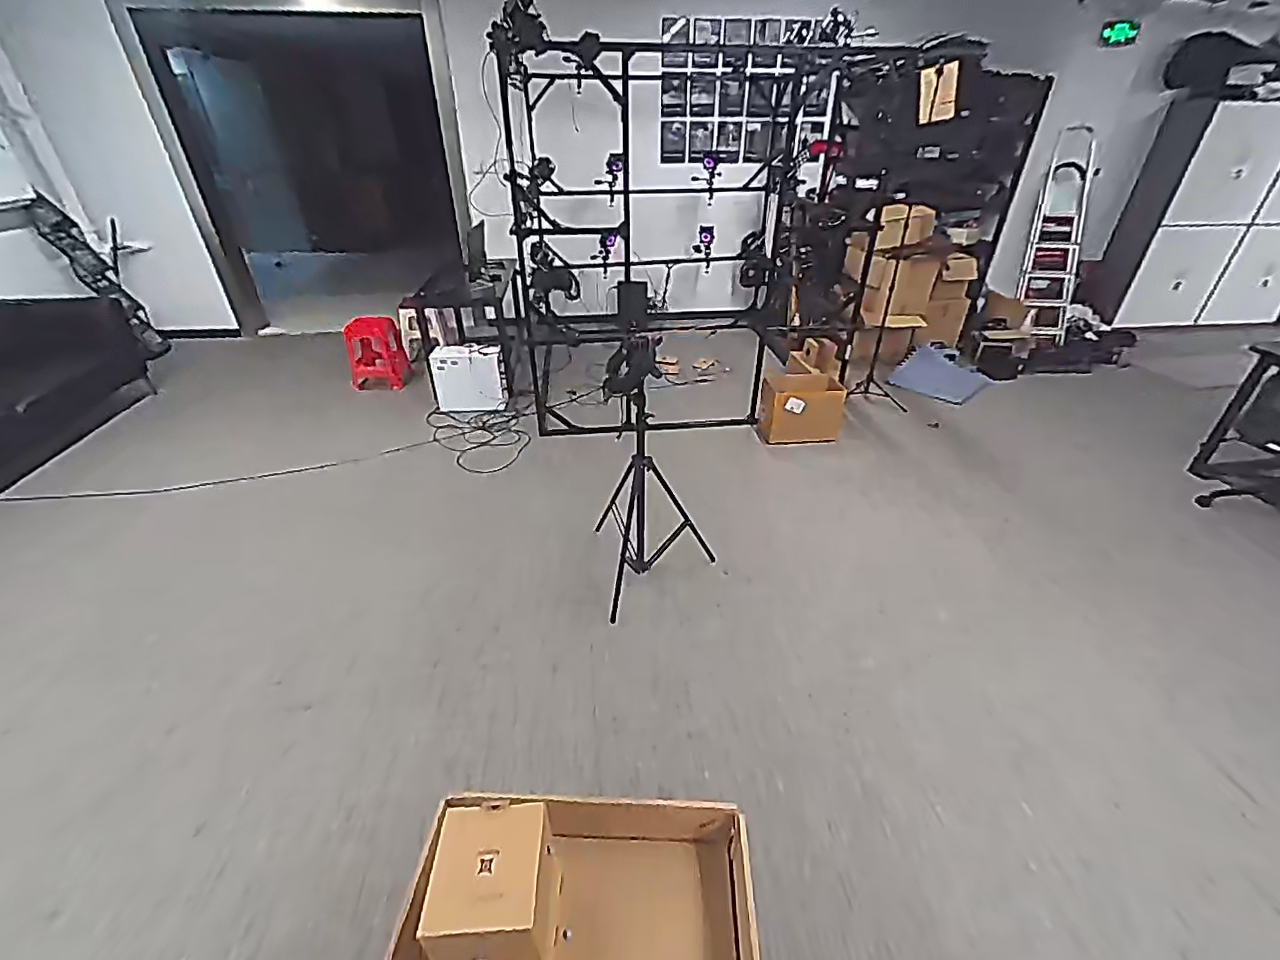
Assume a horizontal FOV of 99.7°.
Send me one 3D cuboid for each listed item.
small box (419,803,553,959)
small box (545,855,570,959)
[{"bbox_3d":[-0.234,0.658,0.874,0.168,0.176,0.179,-2,32,-2],"label":"small box"},{"bbox_3d":[-0.224,0.797,0.961,0.179,0.176,0.168,0,33,-1],"label":"small box"}]
